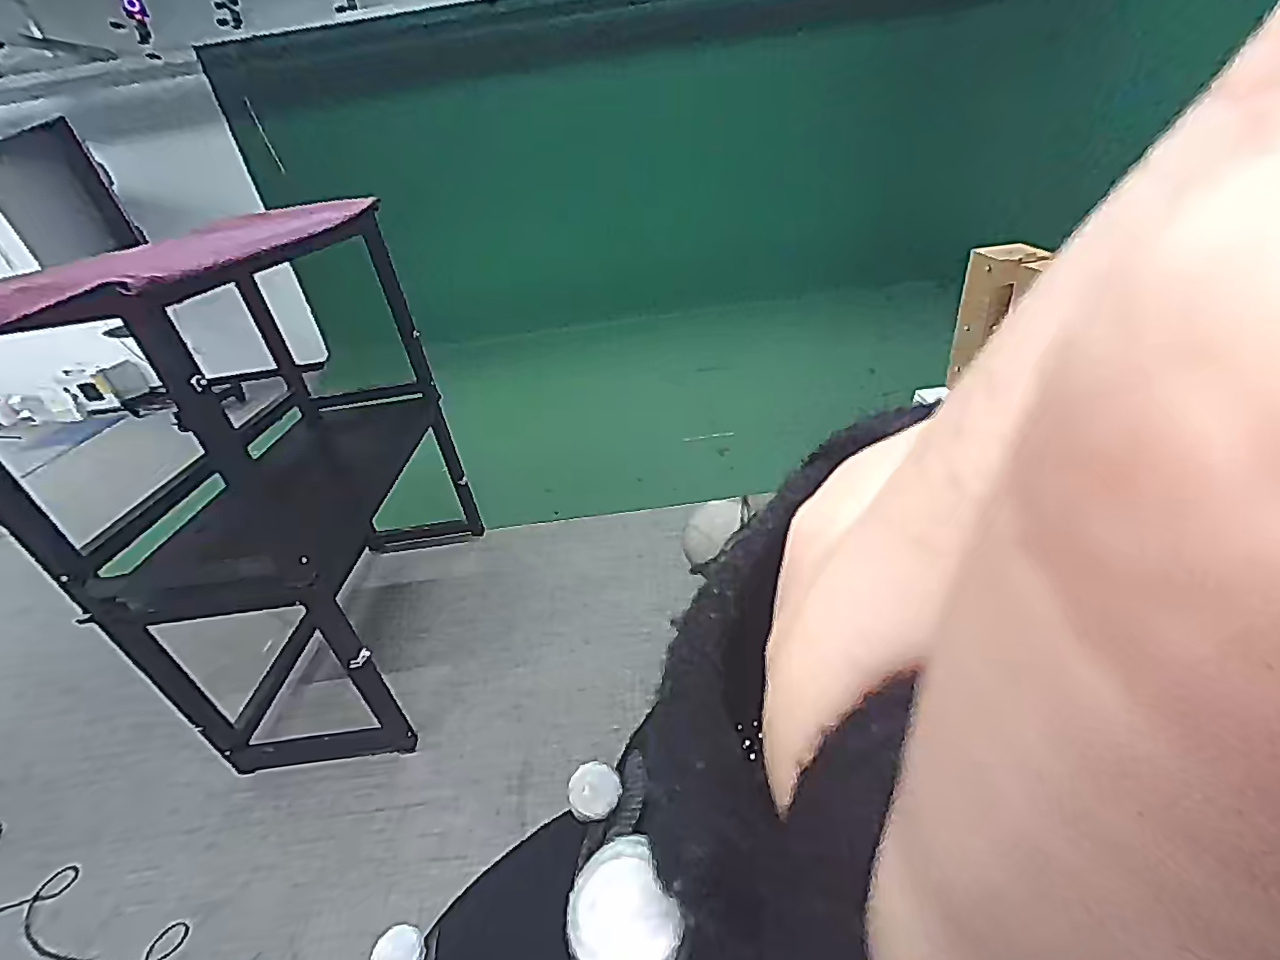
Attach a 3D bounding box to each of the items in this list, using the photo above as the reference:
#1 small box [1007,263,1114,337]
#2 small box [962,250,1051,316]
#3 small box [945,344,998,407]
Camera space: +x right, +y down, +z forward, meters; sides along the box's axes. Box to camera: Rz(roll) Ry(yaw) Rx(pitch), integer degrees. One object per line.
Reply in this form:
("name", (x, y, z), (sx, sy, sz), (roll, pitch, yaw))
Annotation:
("small box", (1.224, -0.526, 1.588), (0.168, 0.176, 0.179), (-7, 30, 3))
("small box", (1.204, -0.653, 1.795), (0.168, 0.176, 0.179), (-6, 34, 3))
("small box", (1.243, -0.381, 1.971), (0.168, 0.176, 0.179), (-6, 33, 4))
